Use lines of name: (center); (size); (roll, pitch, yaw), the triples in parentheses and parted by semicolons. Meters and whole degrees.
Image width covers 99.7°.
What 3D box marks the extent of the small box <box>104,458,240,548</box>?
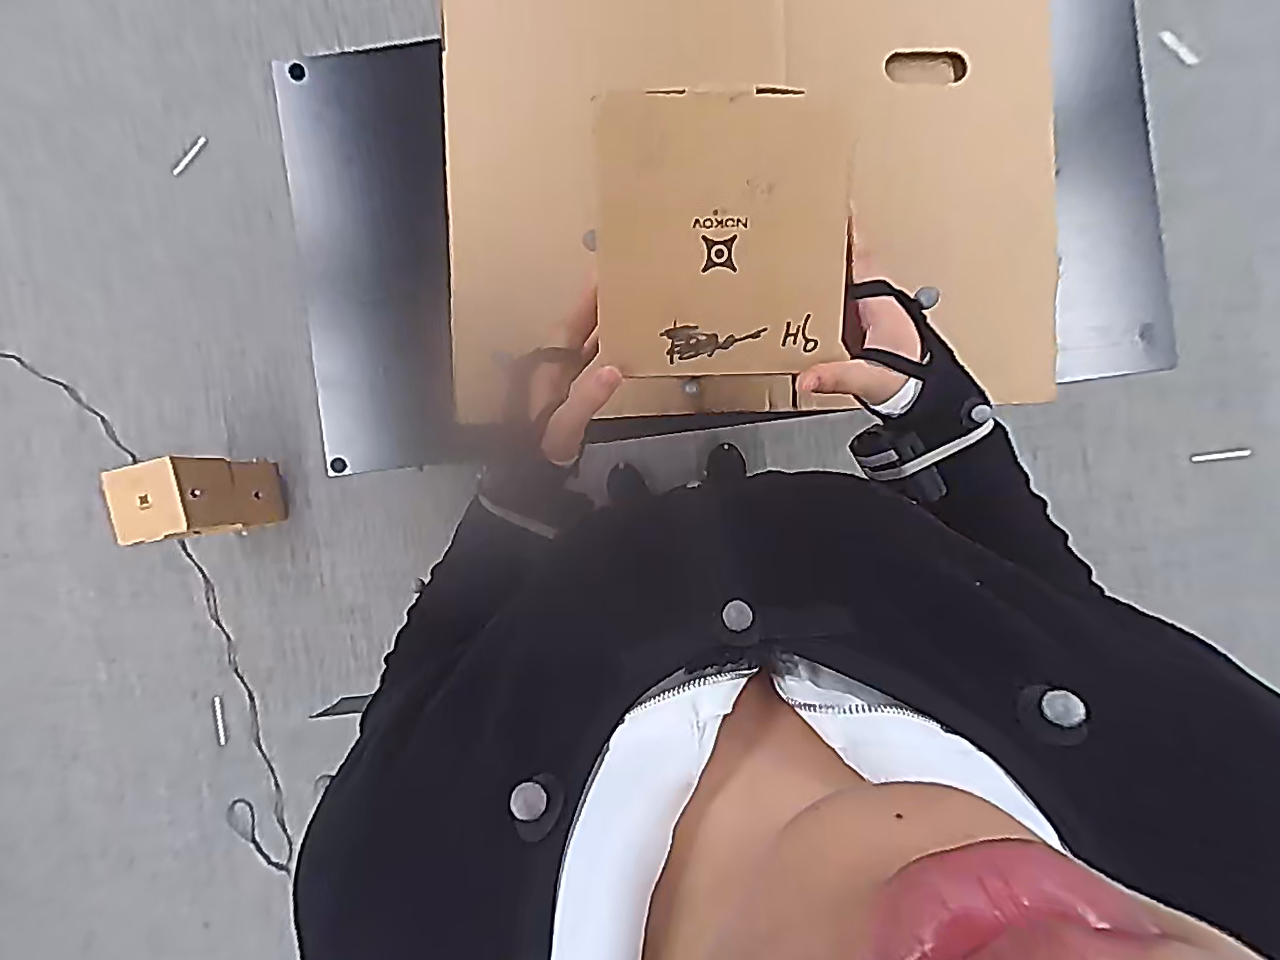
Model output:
small box: (-1.107, 0.050, 1.295); (0.168, 0.176, 0.179); (-14, 90, 1)

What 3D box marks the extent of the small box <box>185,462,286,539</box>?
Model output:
small box: (-1.100, 0.052, 1.457); (0.168, 0.176, 0.179); (-11, 91, 2)

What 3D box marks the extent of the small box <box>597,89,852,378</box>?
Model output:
small box: (0.052, -0.172, 0.431); (0.168, 0.176, 0.179); (-2, 102, 0)
